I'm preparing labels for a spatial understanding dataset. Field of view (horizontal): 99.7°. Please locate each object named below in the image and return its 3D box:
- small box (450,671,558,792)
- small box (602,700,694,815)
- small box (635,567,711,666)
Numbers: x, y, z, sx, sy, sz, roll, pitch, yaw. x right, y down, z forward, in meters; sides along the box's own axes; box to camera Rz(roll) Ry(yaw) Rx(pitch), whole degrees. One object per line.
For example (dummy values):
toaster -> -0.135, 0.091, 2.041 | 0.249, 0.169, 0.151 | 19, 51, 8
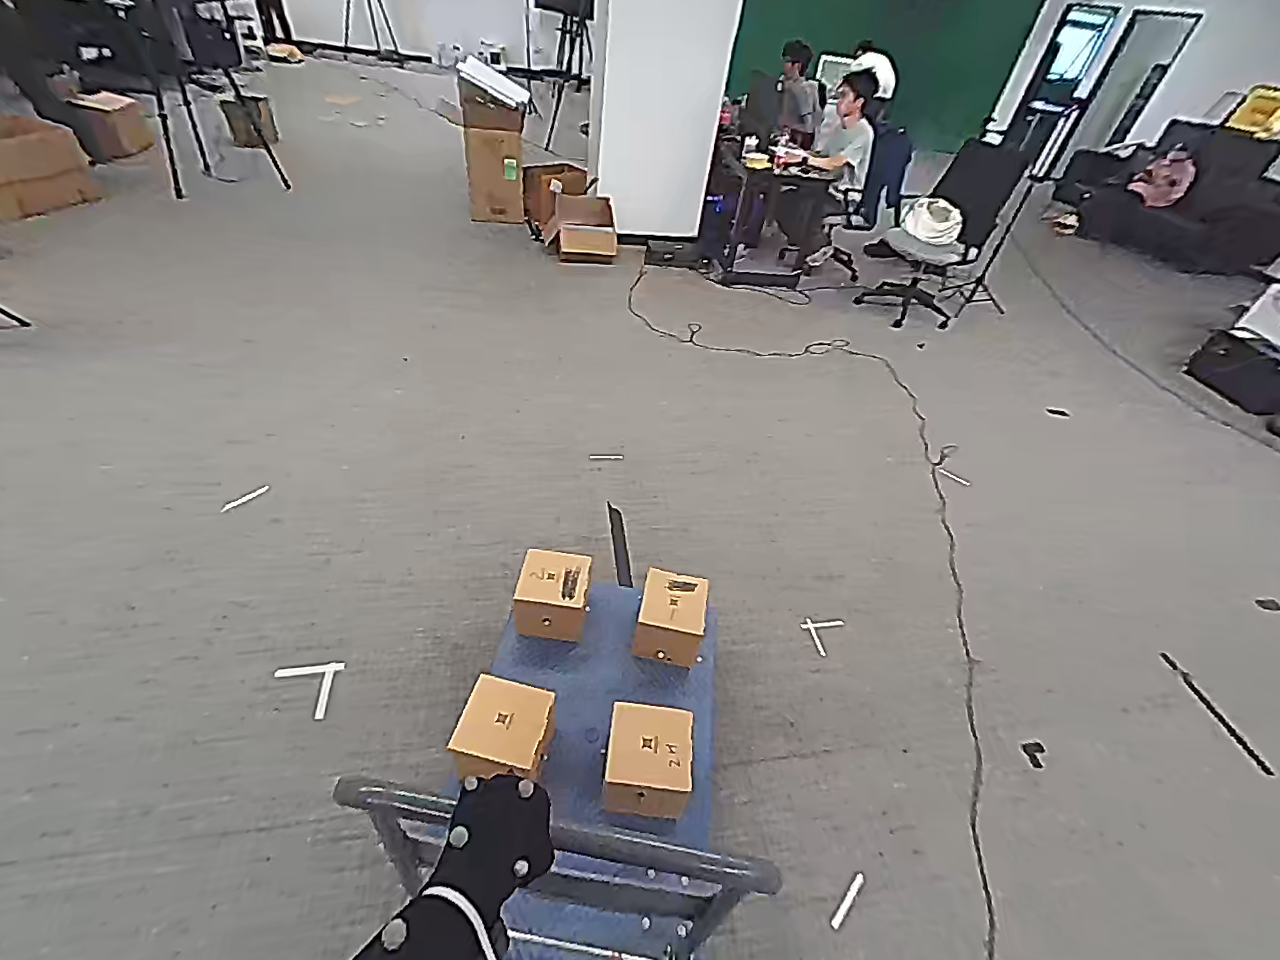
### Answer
small box -> -0.290, 0.552, 1.181 | 0.179, 0.176, 0.168 | 14, 42, 3
small box -> 0.015, 0.606, 1.175 | 0.179, 0.176, 0.168 | 9, 43, 0
small box -> 0.086, 0.366, 1.447 | 0.168, 0.176, 0.179 | 12, 44, 3
